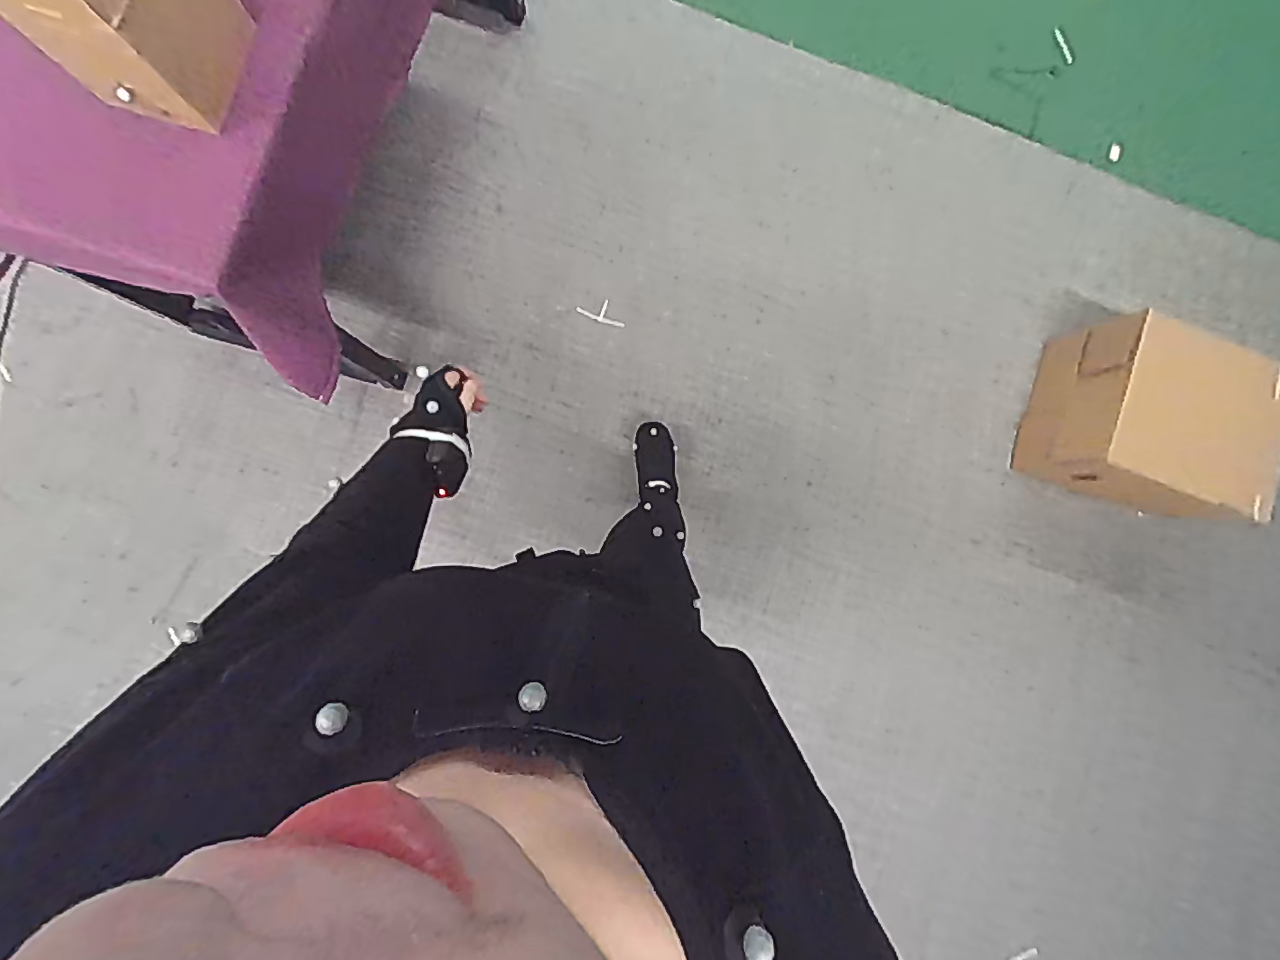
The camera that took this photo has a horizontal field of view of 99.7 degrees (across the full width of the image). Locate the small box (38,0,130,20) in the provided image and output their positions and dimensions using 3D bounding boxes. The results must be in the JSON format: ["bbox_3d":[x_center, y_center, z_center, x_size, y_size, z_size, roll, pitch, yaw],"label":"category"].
[{"bbox_3d":[-0.636,-0.610,0.527,0.179,0.176,0.168,16,85,-4],"label":"small box"}]

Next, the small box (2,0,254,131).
[{"bbox_3d":[-0.641,-0.601,0.690,0.168,0.176,0.179,16,85,-2],"label":"small box"}]
